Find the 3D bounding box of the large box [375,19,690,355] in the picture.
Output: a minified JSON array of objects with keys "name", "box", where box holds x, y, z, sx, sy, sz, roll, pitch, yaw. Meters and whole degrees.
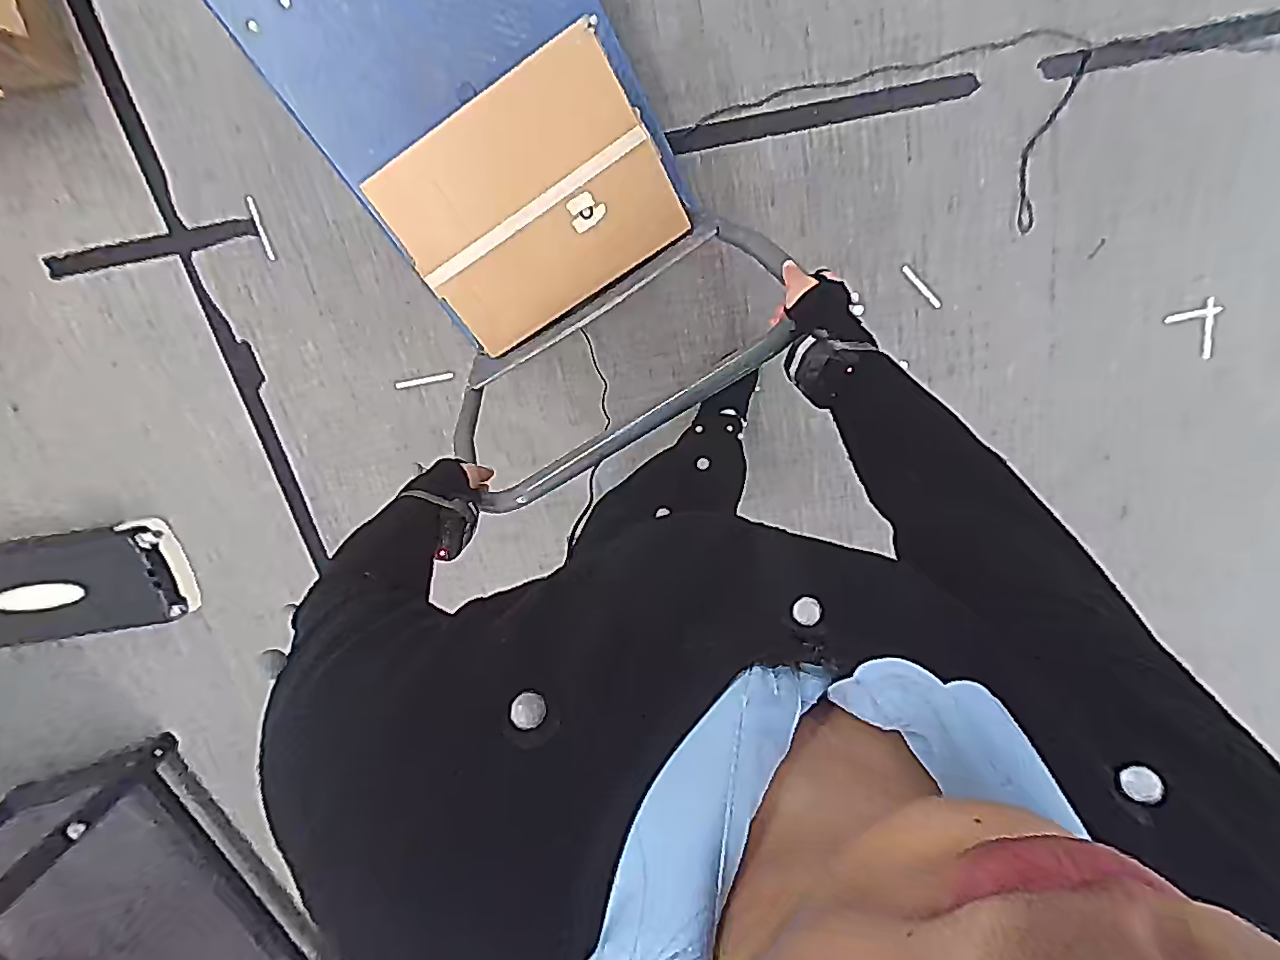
[{"name":"large box","box":[-0.180,-0.496,0.979,0.408,0.320,0.320,-32,119,8]}]
